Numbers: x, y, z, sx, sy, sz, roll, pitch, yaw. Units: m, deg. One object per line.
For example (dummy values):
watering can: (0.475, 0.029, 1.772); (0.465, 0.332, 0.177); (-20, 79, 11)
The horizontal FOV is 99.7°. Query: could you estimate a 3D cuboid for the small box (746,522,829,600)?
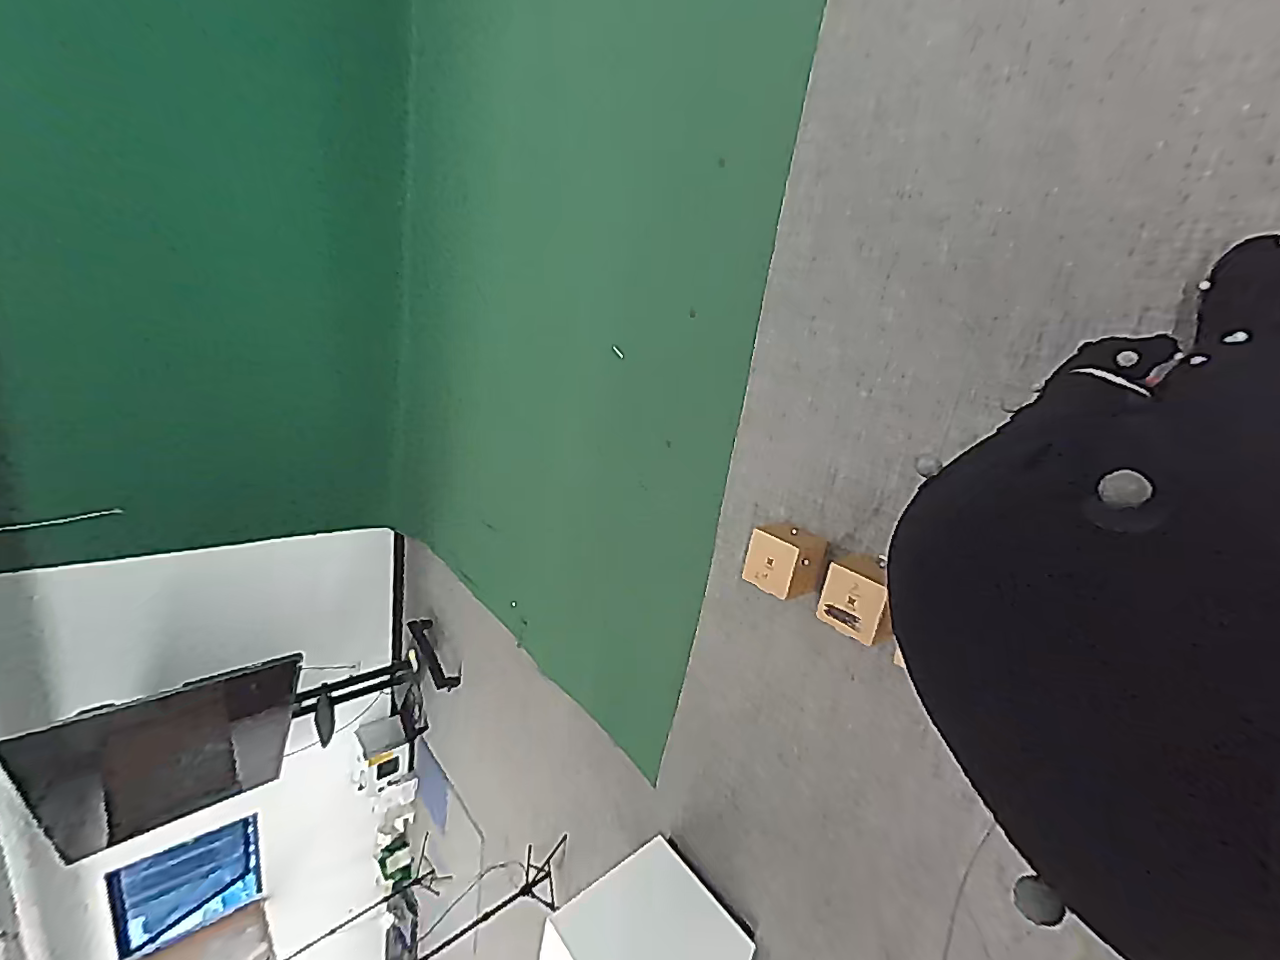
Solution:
small box: (0.457, 0.241, 1.662); (0.168, 0.176, 0.179); (26, 113, 45)
